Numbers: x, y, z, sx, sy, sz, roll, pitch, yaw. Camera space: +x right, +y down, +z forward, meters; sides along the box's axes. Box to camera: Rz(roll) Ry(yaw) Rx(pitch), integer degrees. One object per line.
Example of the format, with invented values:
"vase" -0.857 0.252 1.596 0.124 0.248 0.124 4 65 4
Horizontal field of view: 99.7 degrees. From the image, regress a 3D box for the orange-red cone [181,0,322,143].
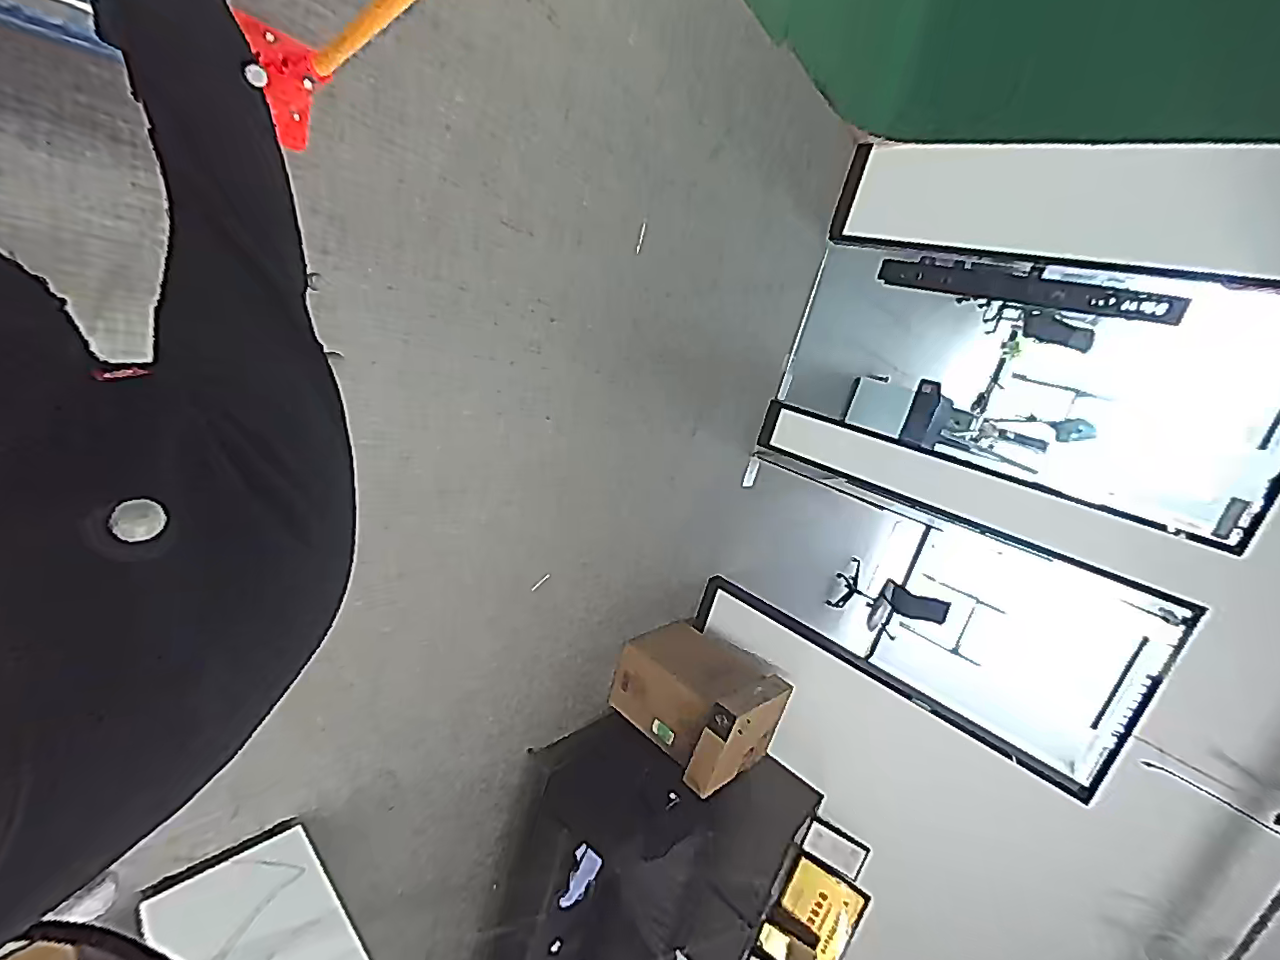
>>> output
"orange-red cone" -0.654 -0.745 0.966 0.199 0.360 0.198 0 112 -50
